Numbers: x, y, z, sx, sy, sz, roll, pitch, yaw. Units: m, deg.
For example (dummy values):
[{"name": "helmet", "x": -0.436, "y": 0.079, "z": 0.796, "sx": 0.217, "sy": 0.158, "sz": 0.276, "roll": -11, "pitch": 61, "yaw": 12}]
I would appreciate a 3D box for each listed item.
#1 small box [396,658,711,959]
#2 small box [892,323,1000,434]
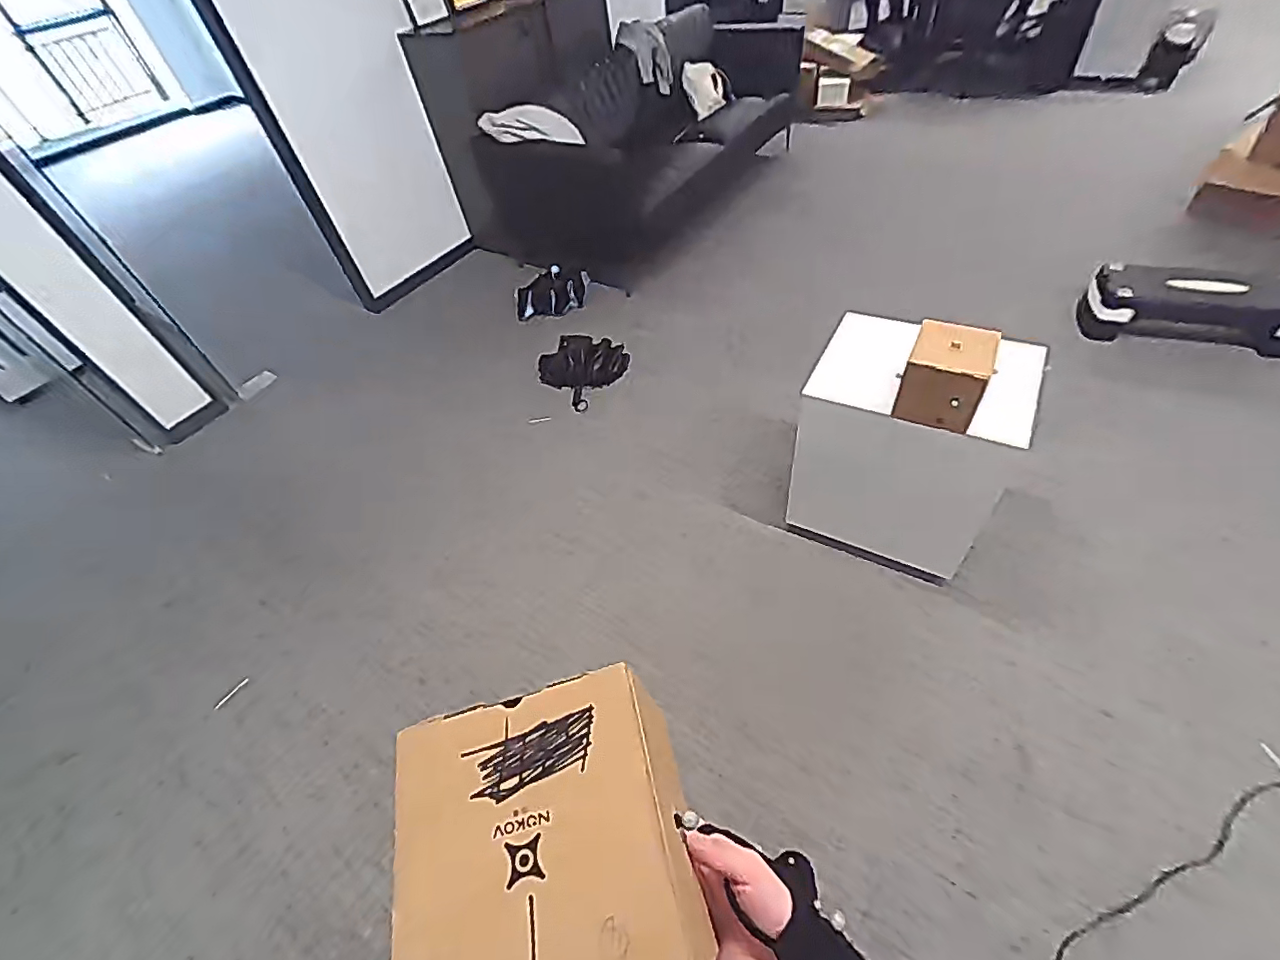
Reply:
[{"name": "small box", "x": -0.053, "y": 0.257, "z": 0.393, "sx": 0.168, "sy": 0.176, "sz": 0.179, "roll": -17, "pitch": 55, "yaw": 1}, {"name": "small box", "x": 0.700, "y": -0.232, "z": 1.251, "sx": 0.168, "sy": 0.176, "sz": 0.179, "roll": 20, "pitch": 53, "yaw": 23}]
